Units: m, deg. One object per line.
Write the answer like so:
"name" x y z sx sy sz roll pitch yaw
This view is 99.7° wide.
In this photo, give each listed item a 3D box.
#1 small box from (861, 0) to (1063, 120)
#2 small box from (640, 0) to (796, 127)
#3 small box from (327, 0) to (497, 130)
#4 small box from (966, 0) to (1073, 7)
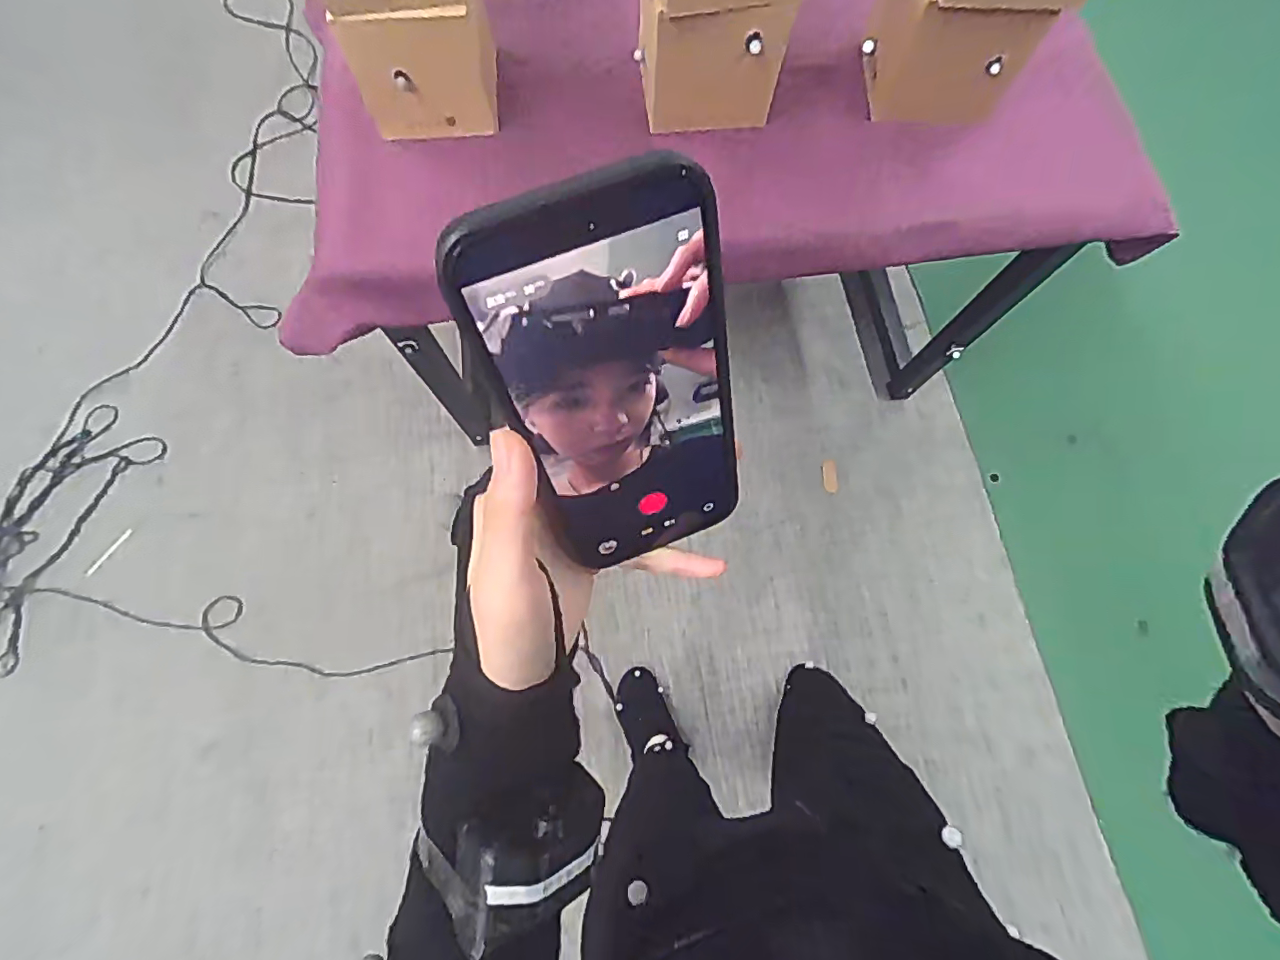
"small box" 0.435 -0.641 0.758 0.179 0.176 0.168 1 74 -1
"small box" 0.095 -0.624 0.746 0.179 0.176 0.168 -5 74 -2
"small box" -0.295 -0.609 0.736 0.168 0.176 0.179 -5 75 -2
"small box" 0.448 -0.671 0.597 0.179 0.176 0.168 1 74 -2
